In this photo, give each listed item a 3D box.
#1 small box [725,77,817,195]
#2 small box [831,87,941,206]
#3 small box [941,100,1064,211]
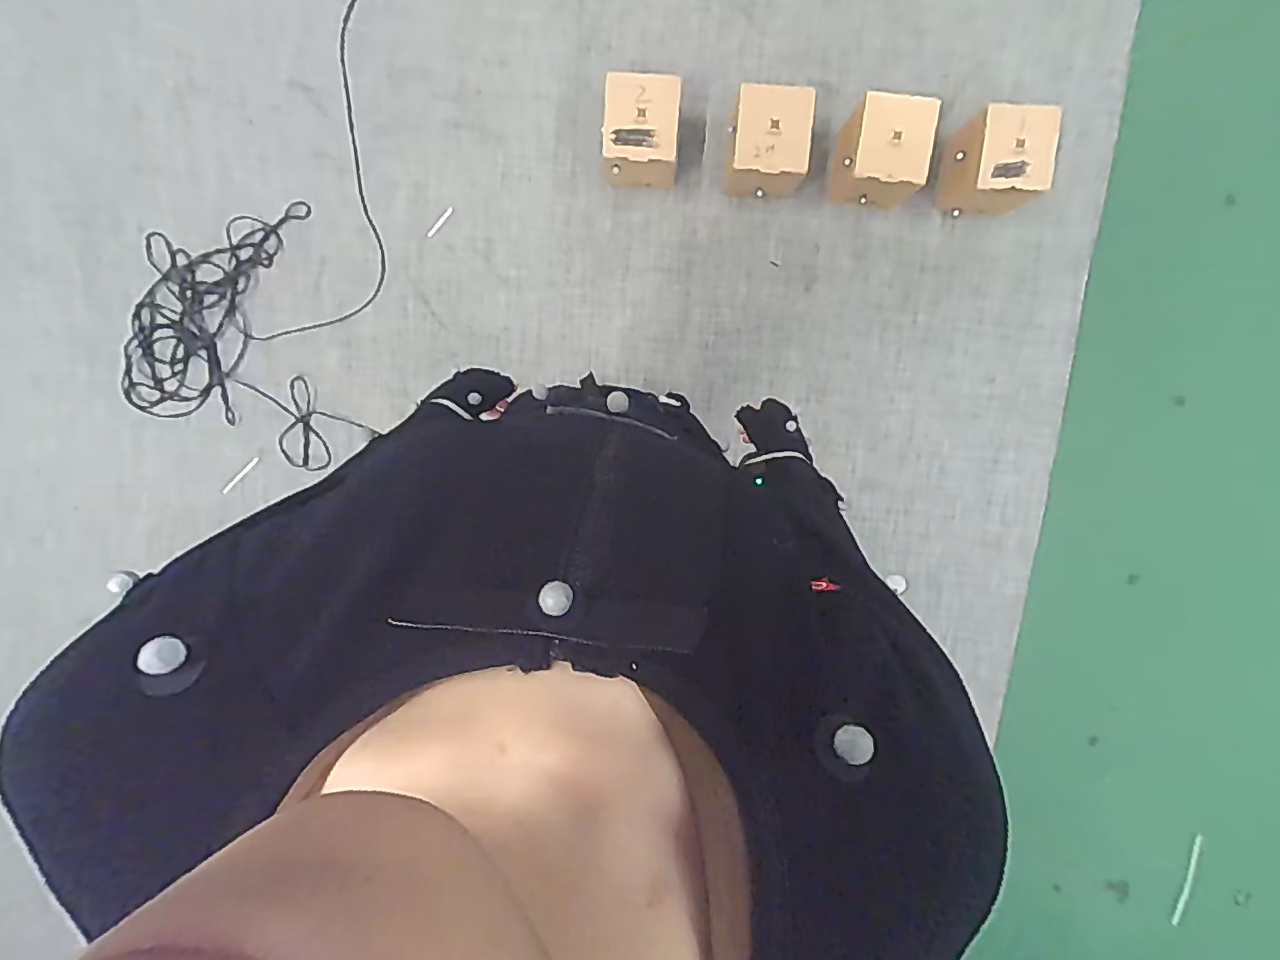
[{"bbox_3d":[0.296,-0.791,1.258,0.168,0.176,0.179,5,100,1],"label":"small box"},{"bbox_3d":[0.563,-0.768,1.260,0.168,0.176,0.179,7,100,0],"label":"small box"},{"bbox_3d":[0.831,-0.744,1.259,0.168,0.176,0.179,3,99,0],"label":"small box"}]
